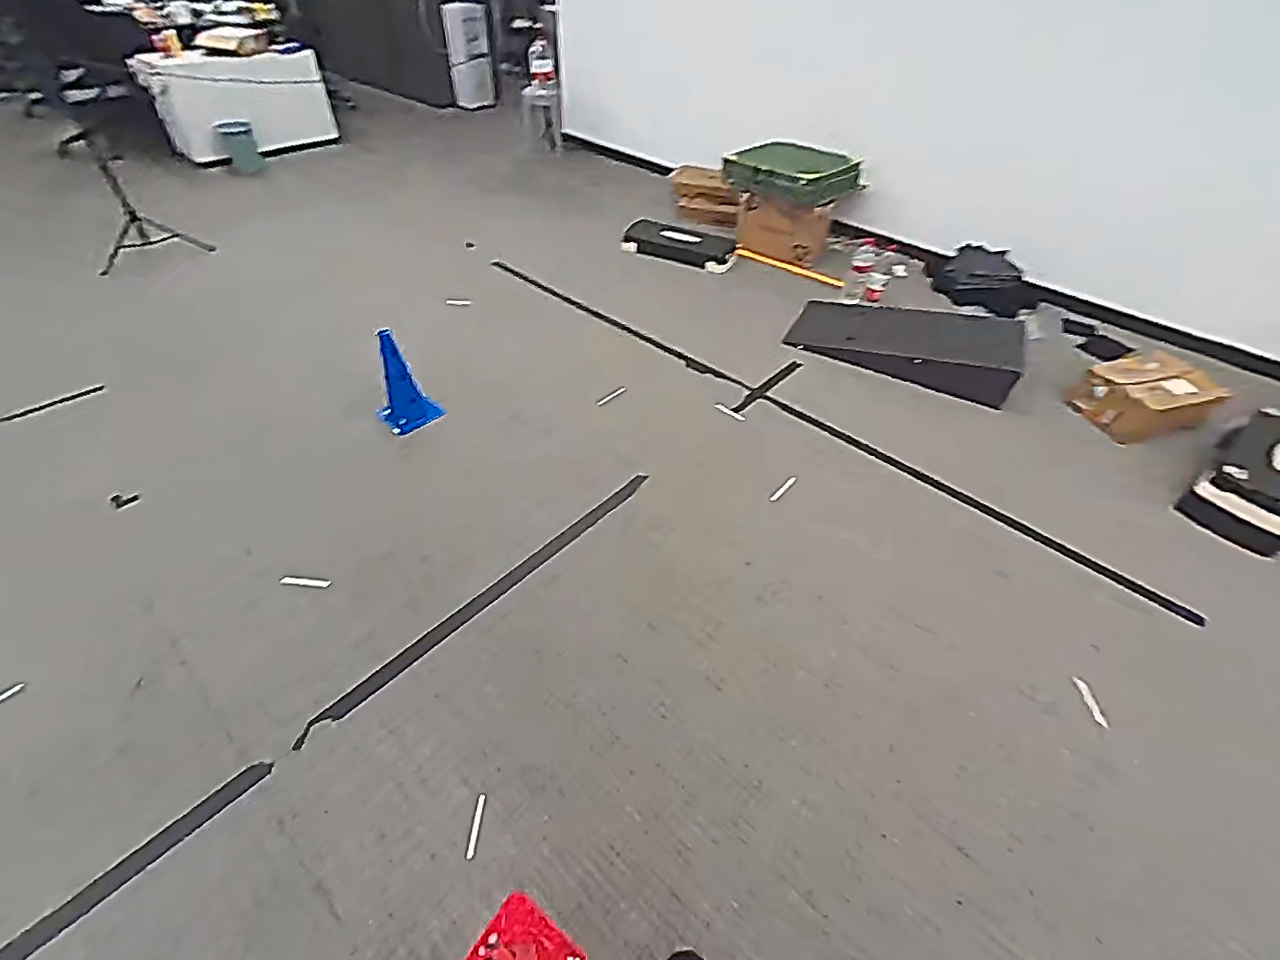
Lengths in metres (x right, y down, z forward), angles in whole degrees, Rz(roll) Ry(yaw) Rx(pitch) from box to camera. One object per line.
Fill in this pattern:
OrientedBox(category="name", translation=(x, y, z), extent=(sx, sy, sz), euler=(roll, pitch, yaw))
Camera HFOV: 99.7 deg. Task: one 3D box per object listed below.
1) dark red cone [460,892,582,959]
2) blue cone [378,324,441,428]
OrientedBox(category="dark red cone", translation=(-0.223, 0.778, 0.843), extent=(0.201, 0.394, 0.202), euler=(27, 50, 23))
OrientedBox(category="blue cone", translation=(-0.885, -0.391, 1.981), extent=(0.192, 0.380, 0.193), euler=(34, 53, 28))
